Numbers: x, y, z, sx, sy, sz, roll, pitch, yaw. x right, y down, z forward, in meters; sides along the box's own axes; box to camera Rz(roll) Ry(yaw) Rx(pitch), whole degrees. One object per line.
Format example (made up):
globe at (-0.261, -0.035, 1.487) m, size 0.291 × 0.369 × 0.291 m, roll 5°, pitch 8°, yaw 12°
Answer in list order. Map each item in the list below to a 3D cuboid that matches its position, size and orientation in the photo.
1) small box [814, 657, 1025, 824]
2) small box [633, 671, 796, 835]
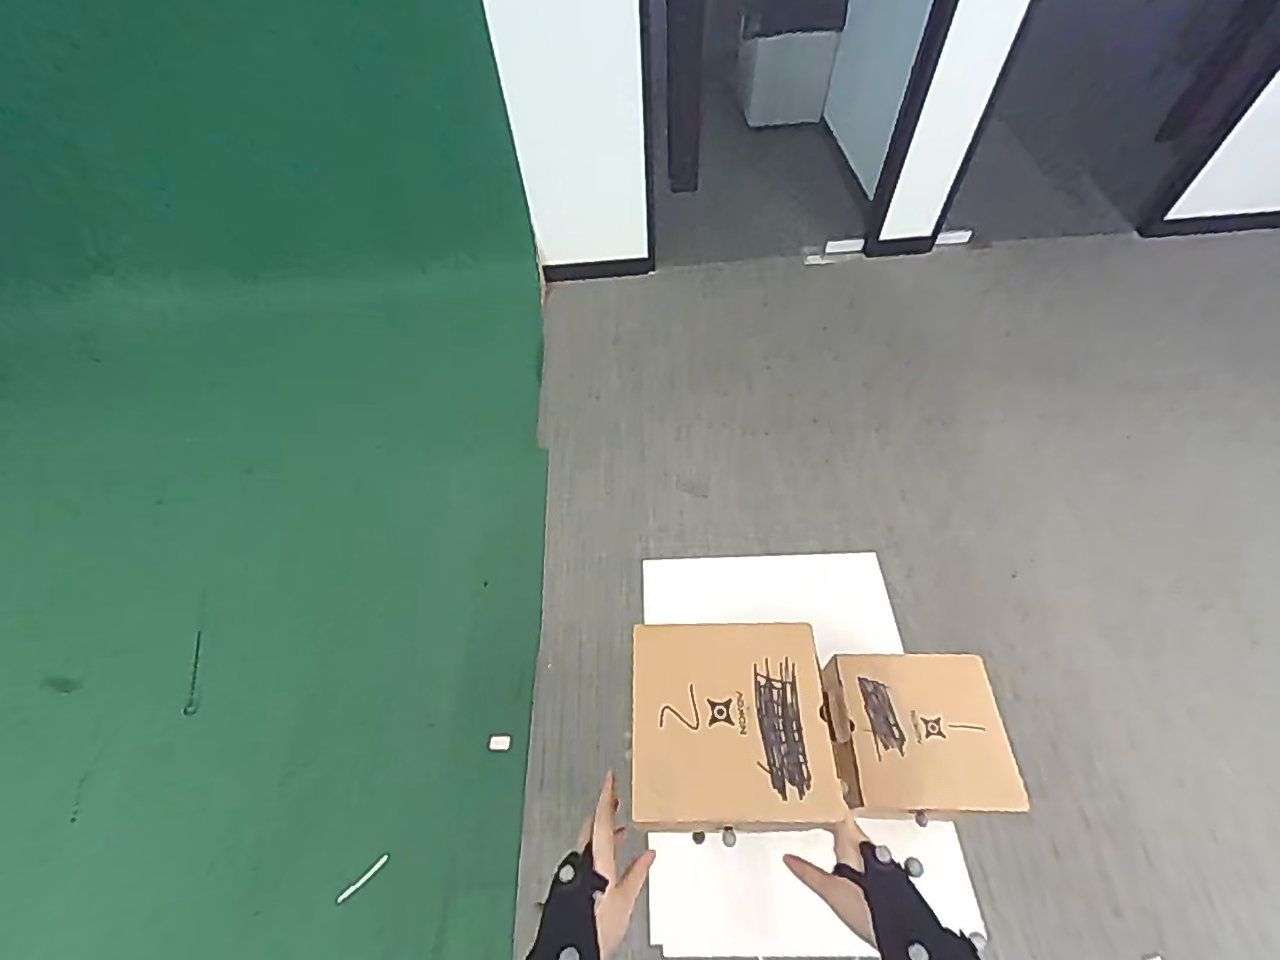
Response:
small box at (0.328, 0.333, 0.685) m, size 0.179 × 0.176 × 0.168 m, roll 0°, pitch 55°, yaw 3°
small box at (0.084, 0.349, 0.686) m, size 0.179 × 0.176 × 0.168 m, roll -1°, pitch 56°, yaw 1°
